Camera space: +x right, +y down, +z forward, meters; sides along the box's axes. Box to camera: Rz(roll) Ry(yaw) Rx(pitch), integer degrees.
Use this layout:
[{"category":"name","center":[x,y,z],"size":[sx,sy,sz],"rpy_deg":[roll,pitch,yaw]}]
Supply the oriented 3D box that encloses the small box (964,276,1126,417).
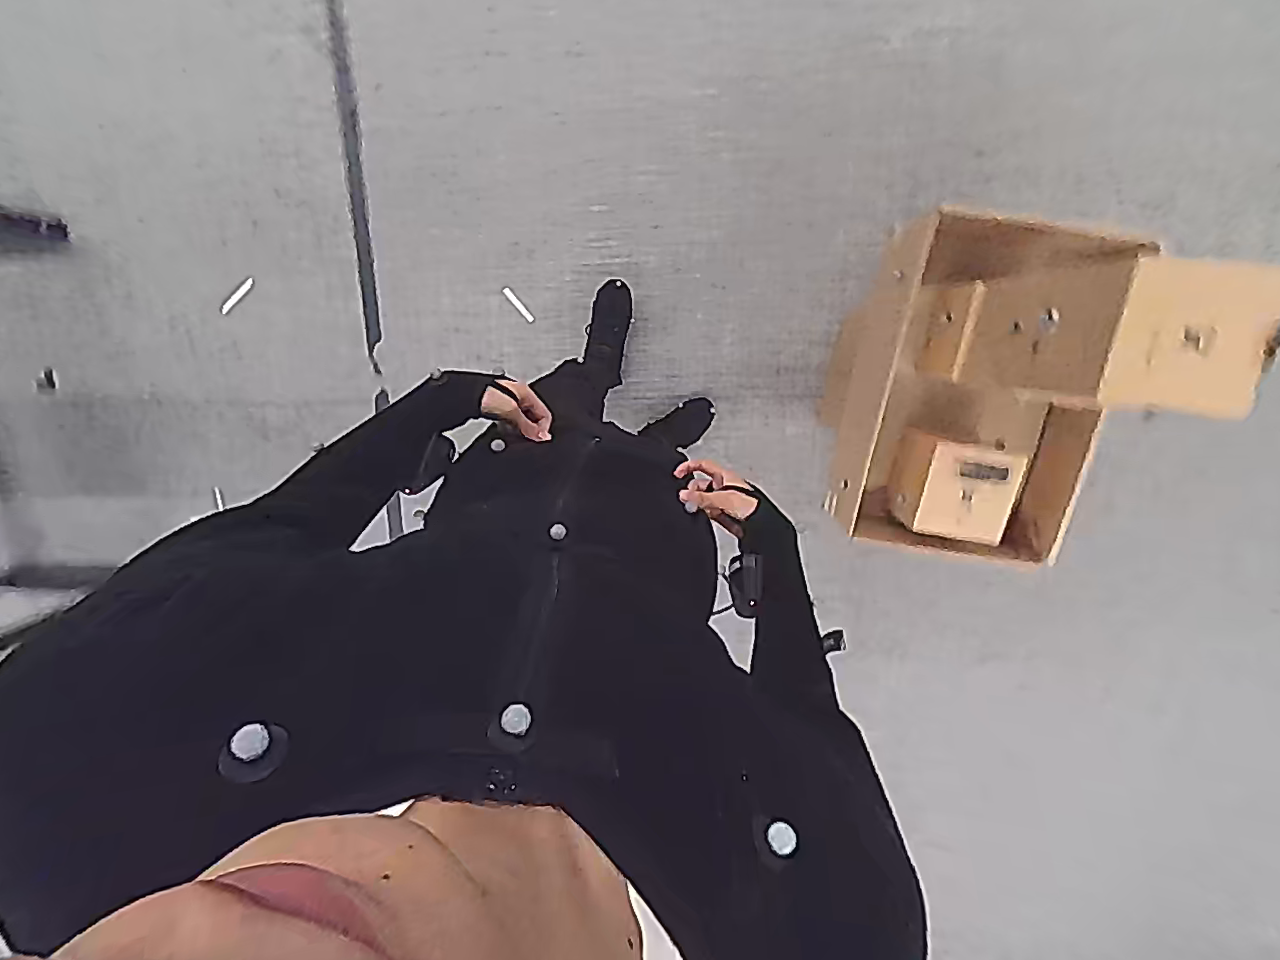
[{"category":"small box","center":[0.645,-0.208,0.844],"size":[0.168,0.176,0.179],"rpy_deg":[10,106,2]}]

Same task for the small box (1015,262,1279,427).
[{"category":"small box","center":[0.633,-0.171,0.685],"size":[0.179,0.176,0.168],"rpy_deg":[7,105,2]}]

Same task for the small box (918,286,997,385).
[{"category":"small box","center":[0.650,-0.256,1.002],"size":[0.179,0.176,0.168],"rpy_deg":[8,106,2]}]
